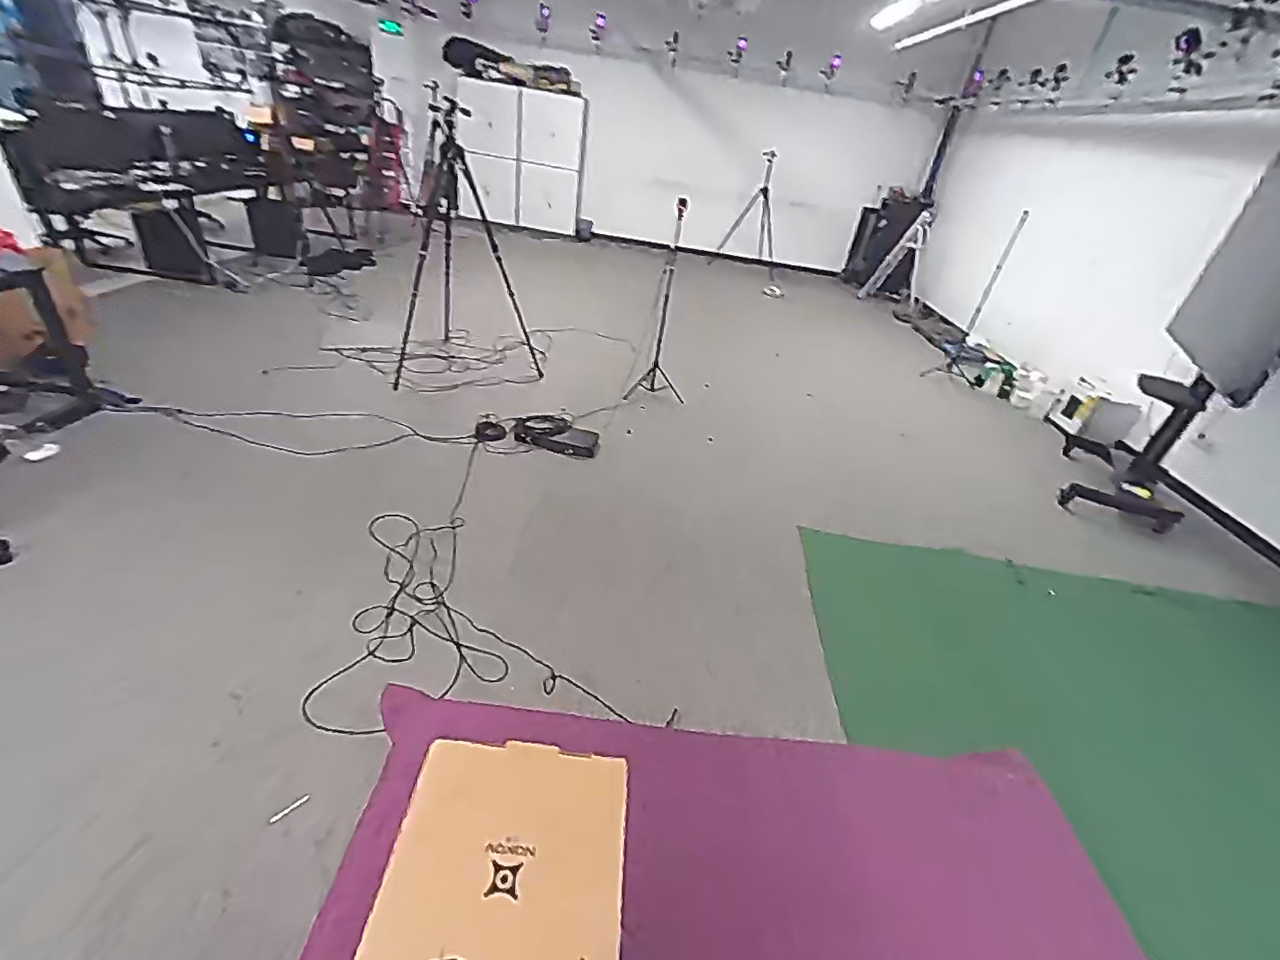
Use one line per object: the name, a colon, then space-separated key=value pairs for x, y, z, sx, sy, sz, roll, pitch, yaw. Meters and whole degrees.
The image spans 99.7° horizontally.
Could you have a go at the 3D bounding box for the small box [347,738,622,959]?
small box: x=-0.111 y=0.343 z=0.432 sx=0.168 sy=0.176 sz=0.179 roll=7 pitch=33 yaw=-3
